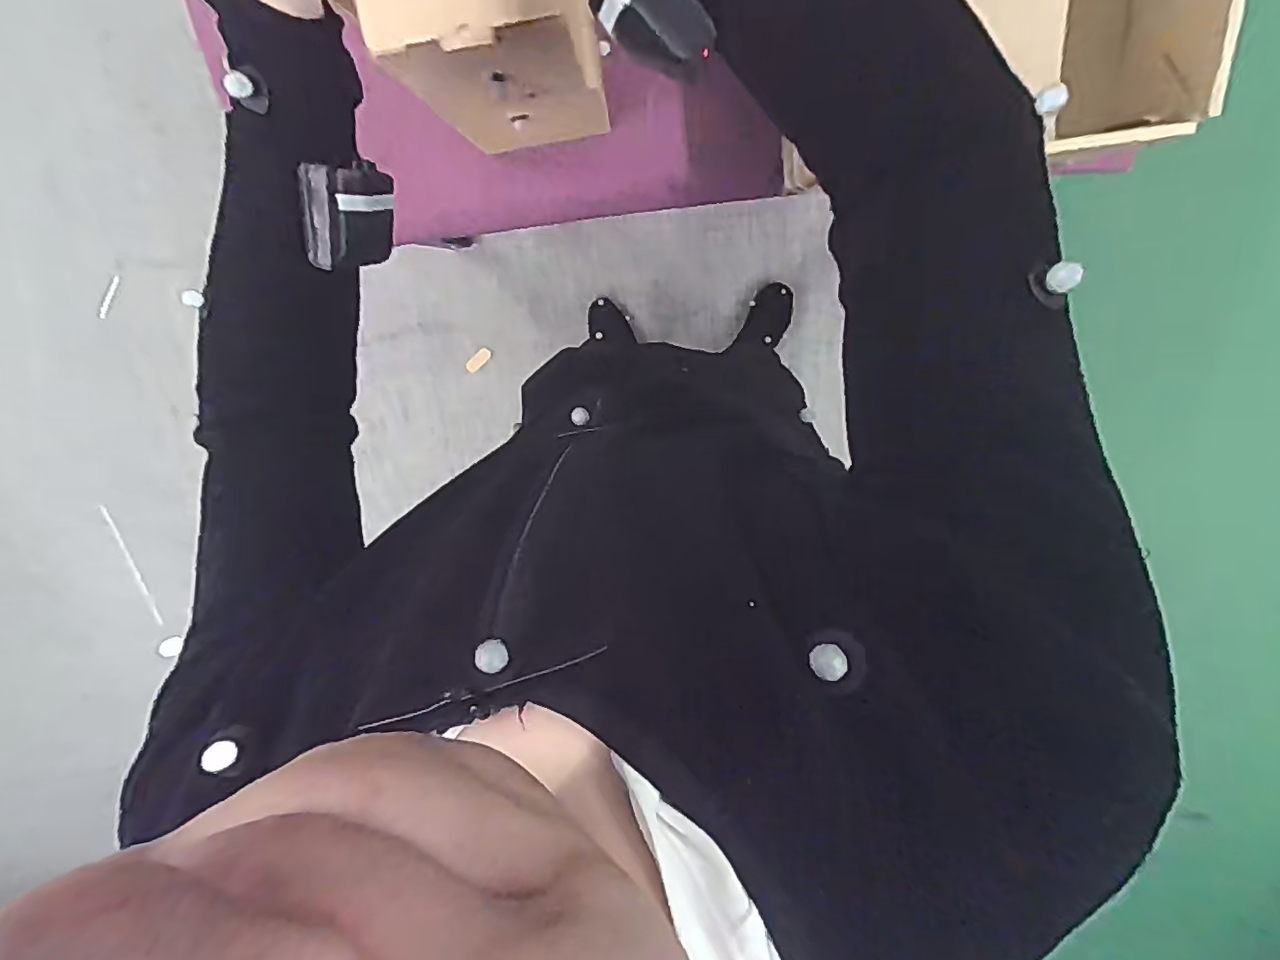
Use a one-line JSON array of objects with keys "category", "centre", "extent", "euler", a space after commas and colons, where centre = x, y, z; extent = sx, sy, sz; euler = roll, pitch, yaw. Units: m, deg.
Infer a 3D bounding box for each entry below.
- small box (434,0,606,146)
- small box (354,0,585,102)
[{"category": "small box", "centre": [-0.144, -0.513, 0.632], "extent": [0.179, 0.176, 0.168], "euler": [-8, 110, 4]}, {"category": "small box", "centre": [-0.149, -0.461, 0.477], "extent": [0.168, 0.176, 0.179], "euler": [-7, 110, 4]}]
